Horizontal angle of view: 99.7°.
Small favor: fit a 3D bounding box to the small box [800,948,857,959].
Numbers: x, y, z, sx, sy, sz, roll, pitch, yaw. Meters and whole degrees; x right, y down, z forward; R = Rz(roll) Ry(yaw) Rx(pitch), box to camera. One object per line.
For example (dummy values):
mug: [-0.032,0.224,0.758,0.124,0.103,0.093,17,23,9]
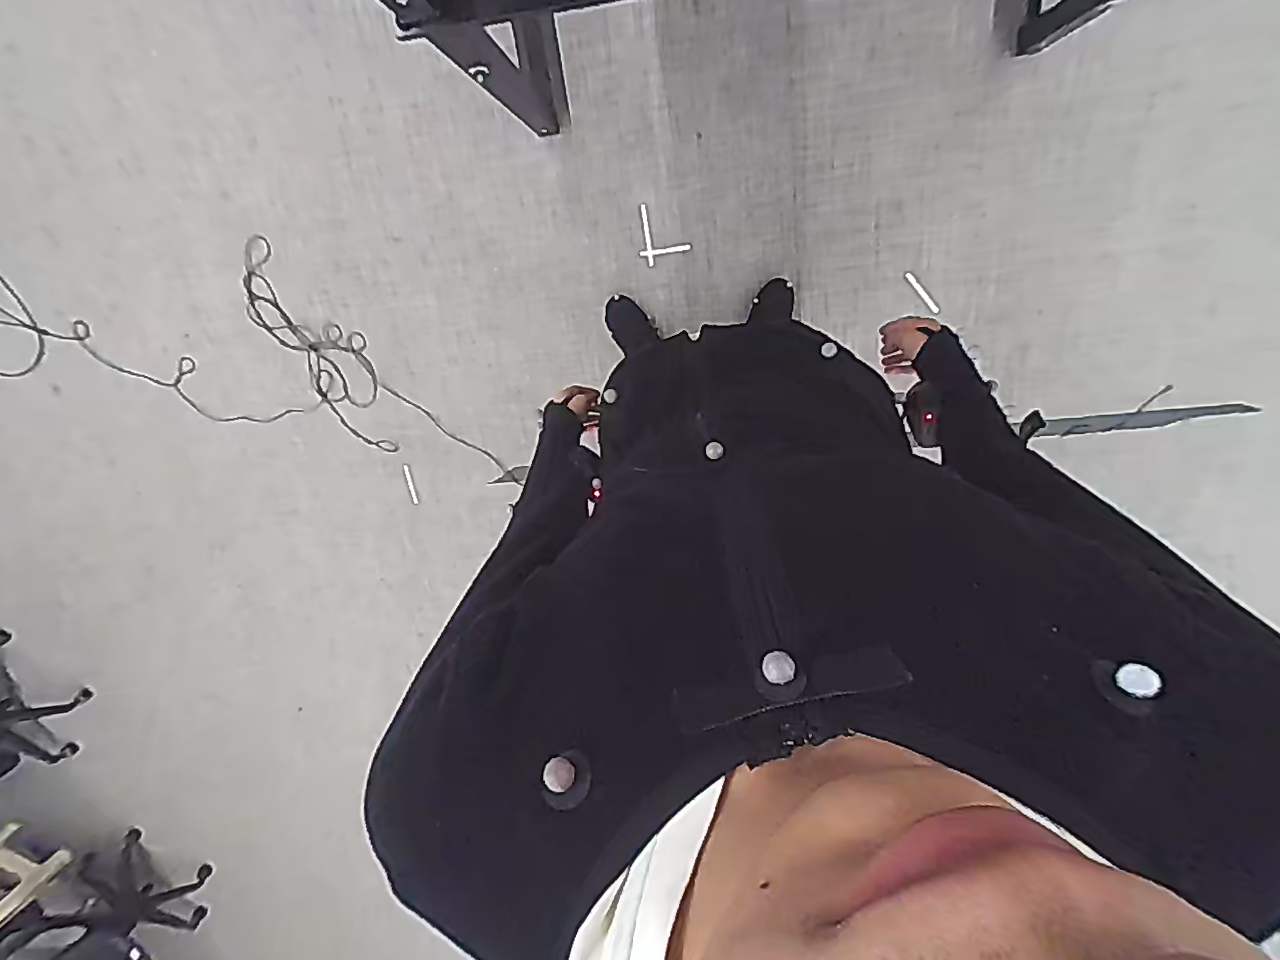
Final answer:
small box: [0.566,1.501,1.561,0.168,0.176,0.179,-9,111,7]
